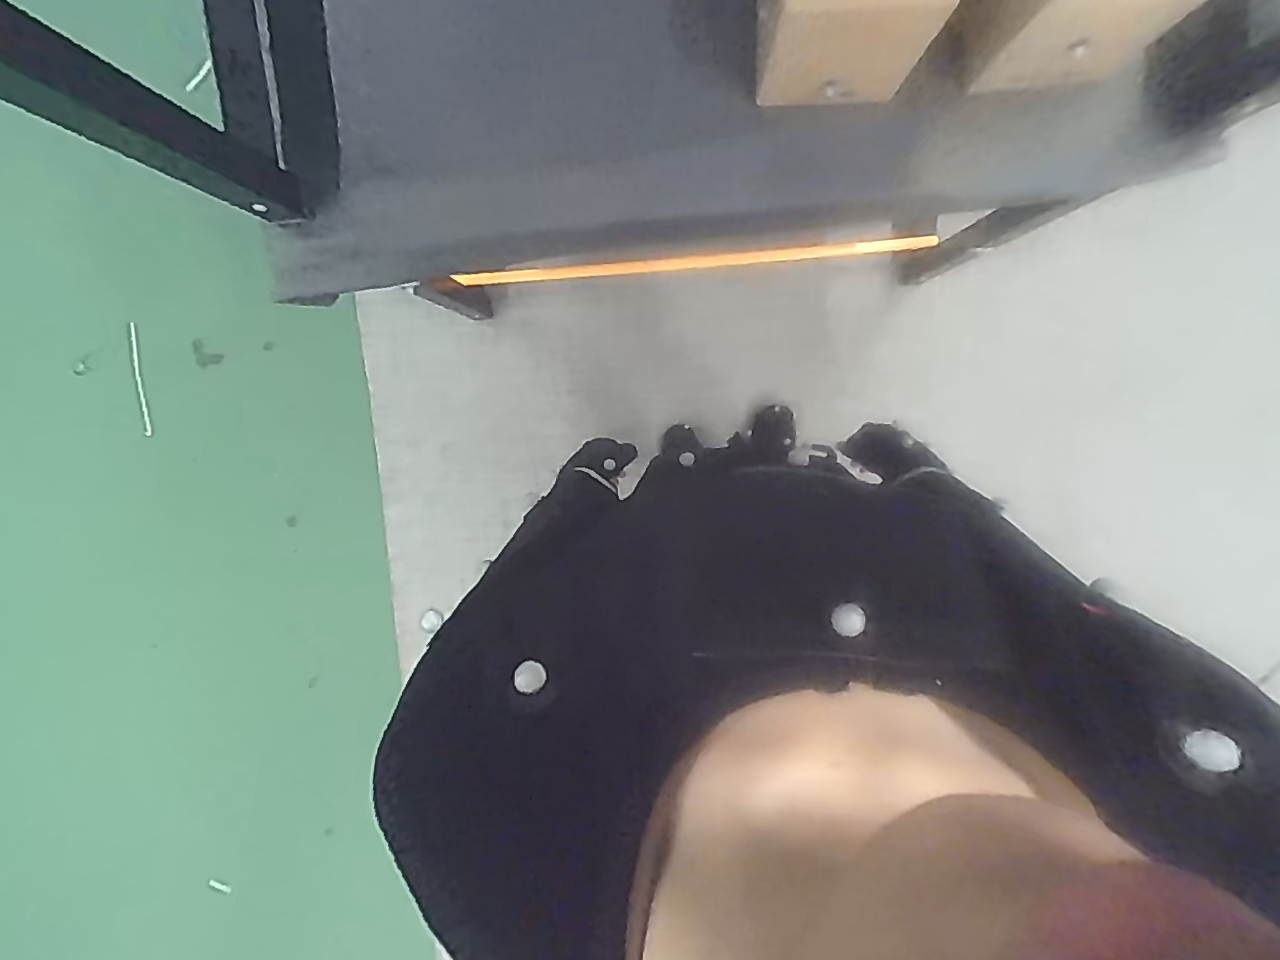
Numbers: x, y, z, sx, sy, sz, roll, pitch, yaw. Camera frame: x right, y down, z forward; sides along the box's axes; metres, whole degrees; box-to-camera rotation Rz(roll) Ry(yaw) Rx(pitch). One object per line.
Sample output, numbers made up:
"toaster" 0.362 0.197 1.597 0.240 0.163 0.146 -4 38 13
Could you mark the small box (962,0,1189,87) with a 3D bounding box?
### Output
"small box" 0.465 -0.550 0.568 0.168 0.176 0.179 -4 96 4
